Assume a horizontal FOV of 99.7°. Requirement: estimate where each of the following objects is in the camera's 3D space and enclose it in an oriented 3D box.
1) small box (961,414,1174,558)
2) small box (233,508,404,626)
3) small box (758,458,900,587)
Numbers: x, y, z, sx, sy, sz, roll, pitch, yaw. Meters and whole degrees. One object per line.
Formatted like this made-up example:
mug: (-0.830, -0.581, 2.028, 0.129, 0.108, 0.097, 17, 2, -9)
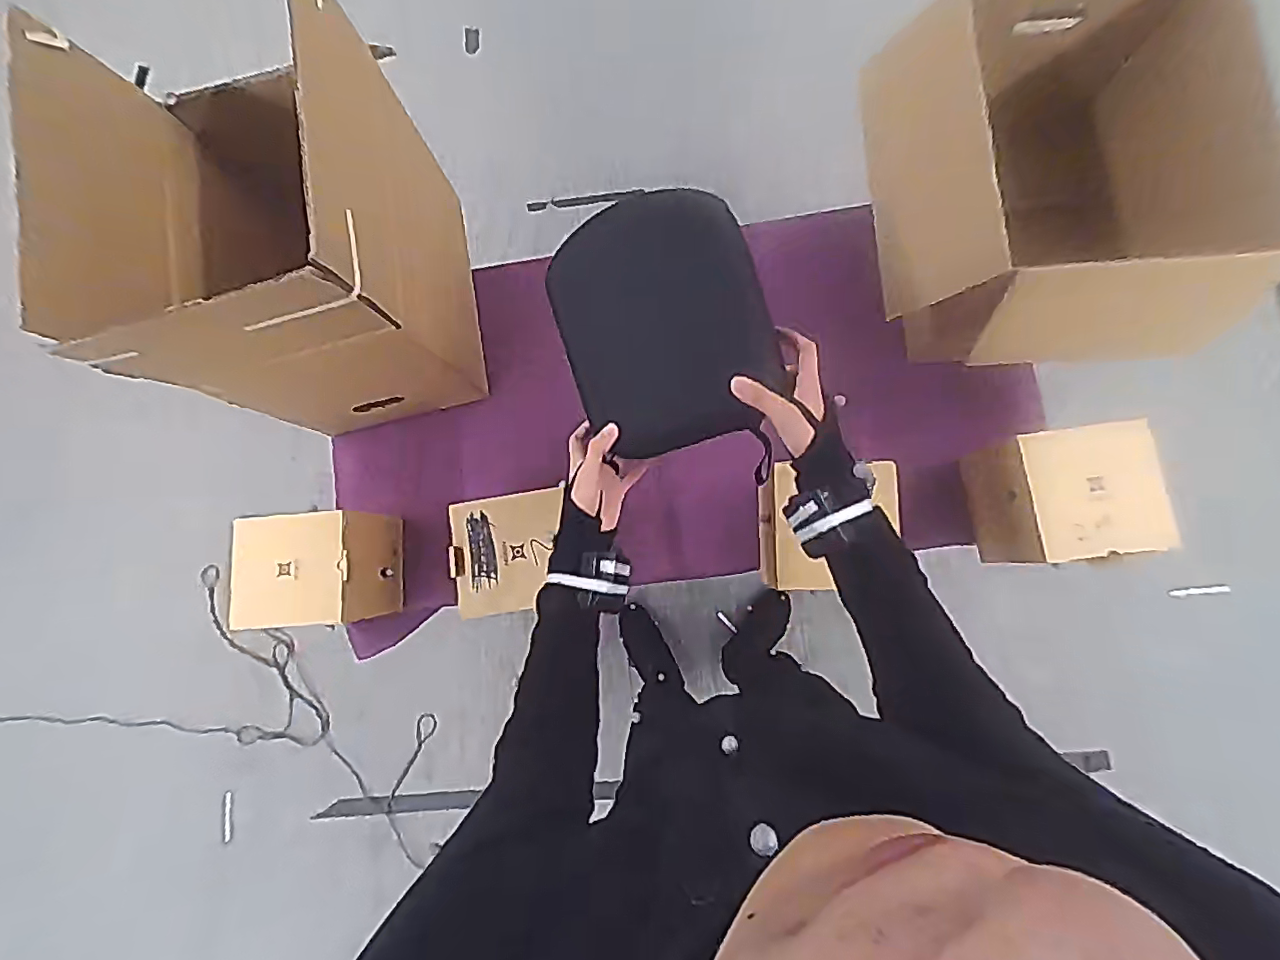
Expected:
small box: (0.600, 0.018, 0.788, 0.168, 0.176, 0.179, -8, 82, 5)
small box: (-0.507, 0.140, 0.873, 0.179, 0.176, 0.168, -5, 82, 3)
small box: (0.272, 0.066, 0.813, 0.168, 0.176, 0.179, -1, 84, 5)
